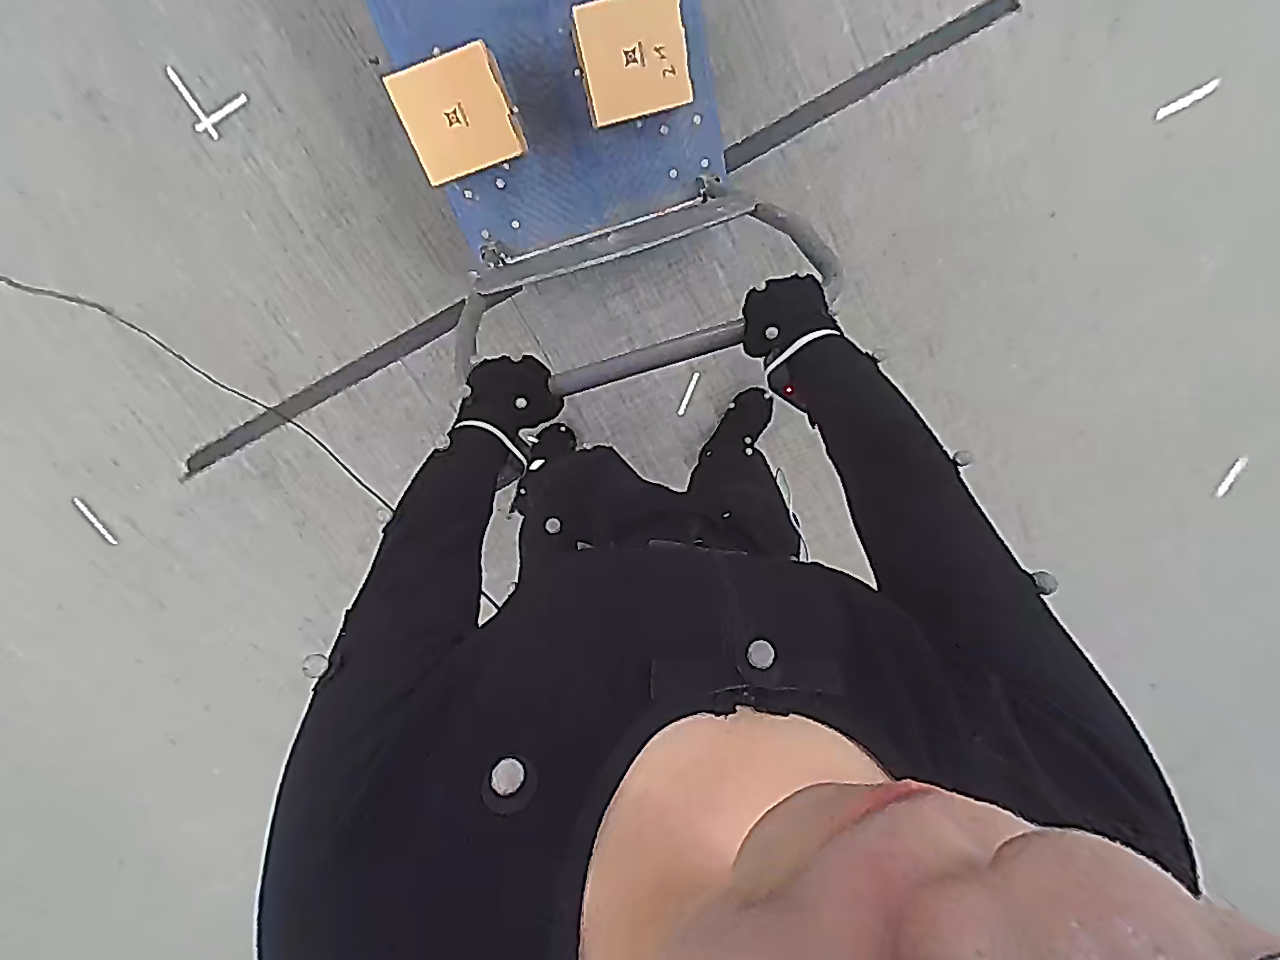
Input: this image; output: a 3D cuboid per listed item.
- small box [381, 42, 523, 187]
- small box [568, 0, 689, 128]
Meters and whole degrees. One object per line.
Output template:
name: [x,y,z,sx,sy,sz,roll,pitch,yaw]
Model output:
small box: [-0.325,-0.647,0.976,0.179,0.176,0.168,-20,122,2]
small box: [-0.023,-0.742,0.963,0.179,0.176,0.168,-14,123,0]
